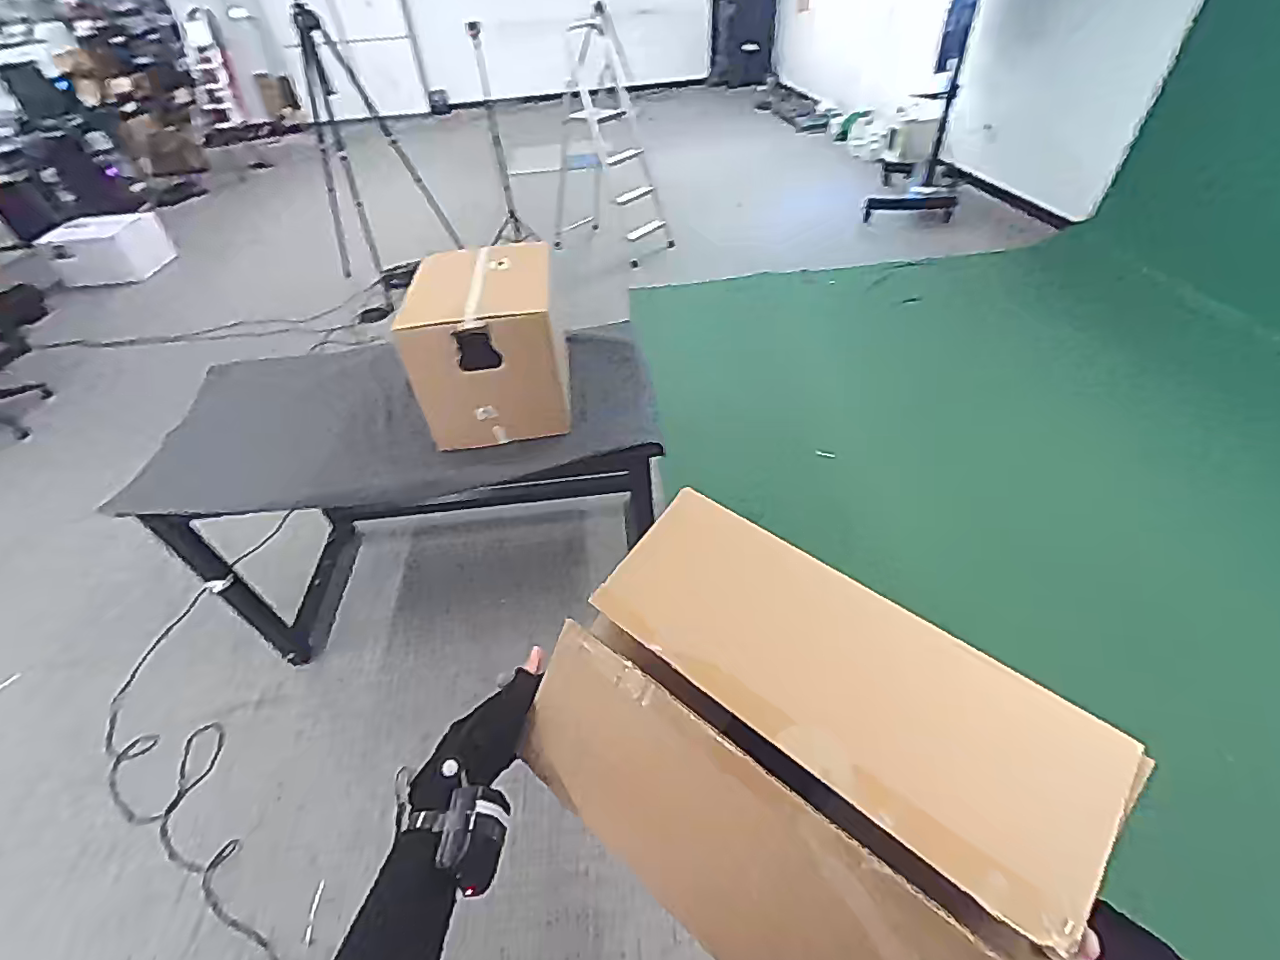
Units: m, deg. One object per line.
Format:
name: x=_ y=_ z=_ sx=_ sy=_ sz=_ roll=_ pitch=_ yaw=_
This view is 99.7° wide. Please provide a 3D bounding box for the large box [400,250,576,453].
large box: x=-0.340 y=-0.321 z=1.319 sx=0.320 sy=0.320 sz=0.408 roll=-7 pitch=42 yaw=-2
